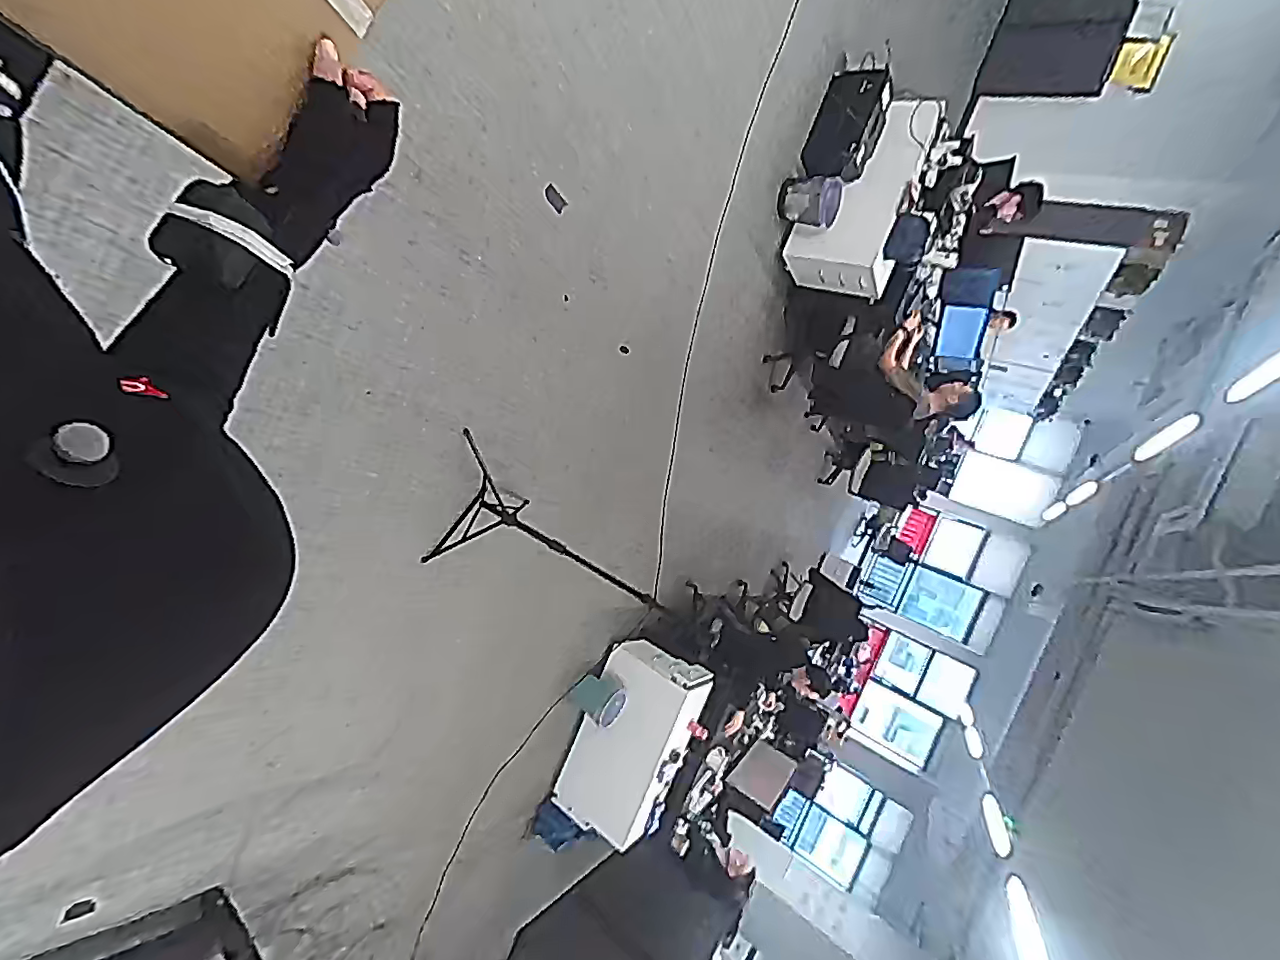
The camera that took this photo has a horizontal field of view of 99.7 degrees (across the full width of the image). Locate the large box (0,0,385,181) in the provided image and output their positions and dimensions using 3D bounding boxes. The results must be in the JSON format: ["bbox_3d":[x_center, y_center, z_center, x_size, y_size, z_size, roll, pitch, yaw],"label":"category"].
[{"bbox_3d":[-0.414,-0.491,0.337,0.320,0.320,0.408,-54,152,2],"label":"large box"}]
